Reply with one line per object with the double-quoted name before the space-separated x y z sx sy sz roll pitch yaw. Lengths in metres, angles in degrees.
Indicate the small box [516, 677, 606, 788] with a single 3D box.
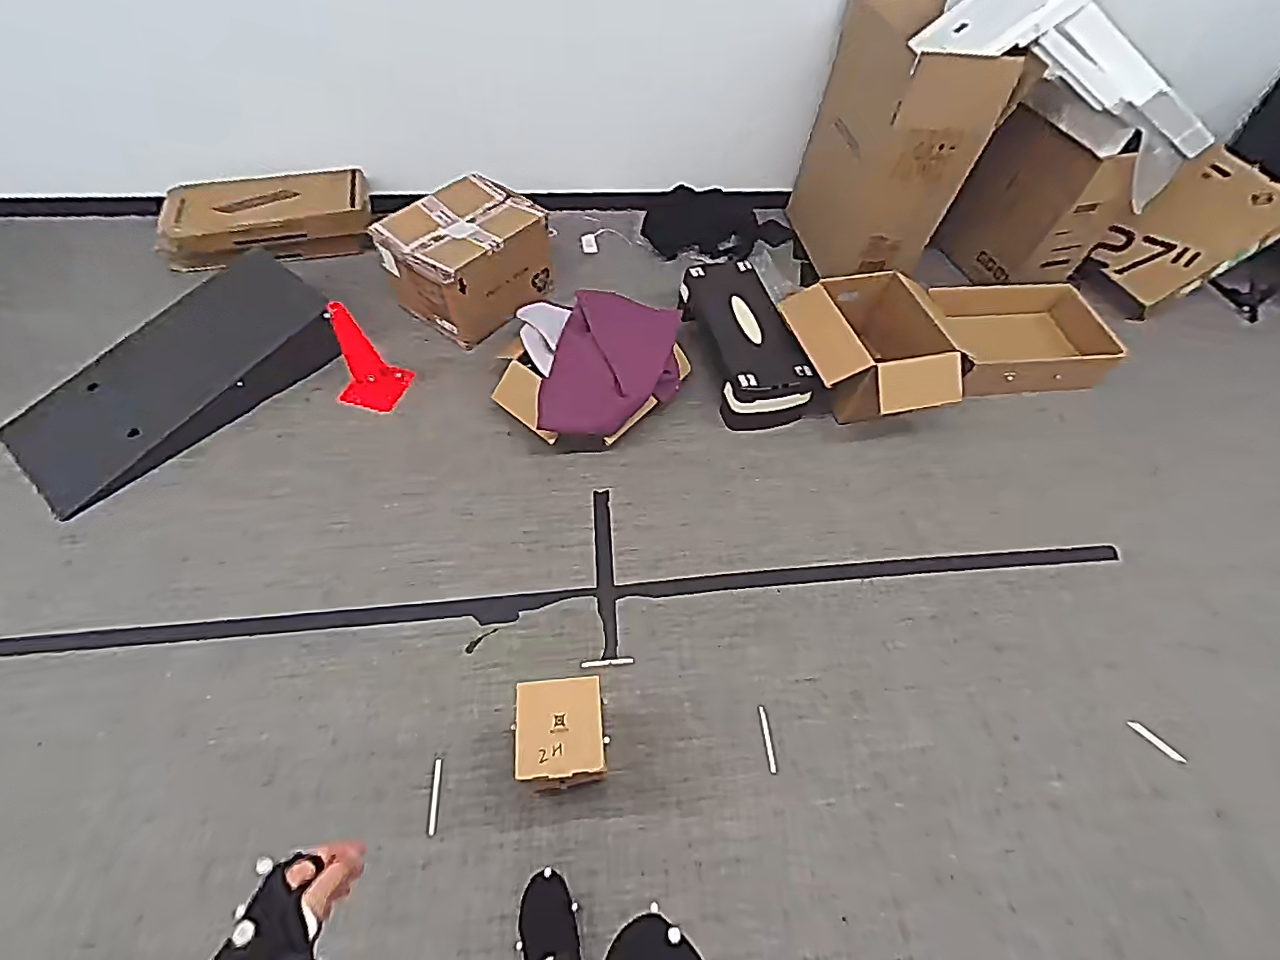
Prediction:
"small box" -0.157 0.515 1.099 0.168 0.176 0.179 -3 58 -5
